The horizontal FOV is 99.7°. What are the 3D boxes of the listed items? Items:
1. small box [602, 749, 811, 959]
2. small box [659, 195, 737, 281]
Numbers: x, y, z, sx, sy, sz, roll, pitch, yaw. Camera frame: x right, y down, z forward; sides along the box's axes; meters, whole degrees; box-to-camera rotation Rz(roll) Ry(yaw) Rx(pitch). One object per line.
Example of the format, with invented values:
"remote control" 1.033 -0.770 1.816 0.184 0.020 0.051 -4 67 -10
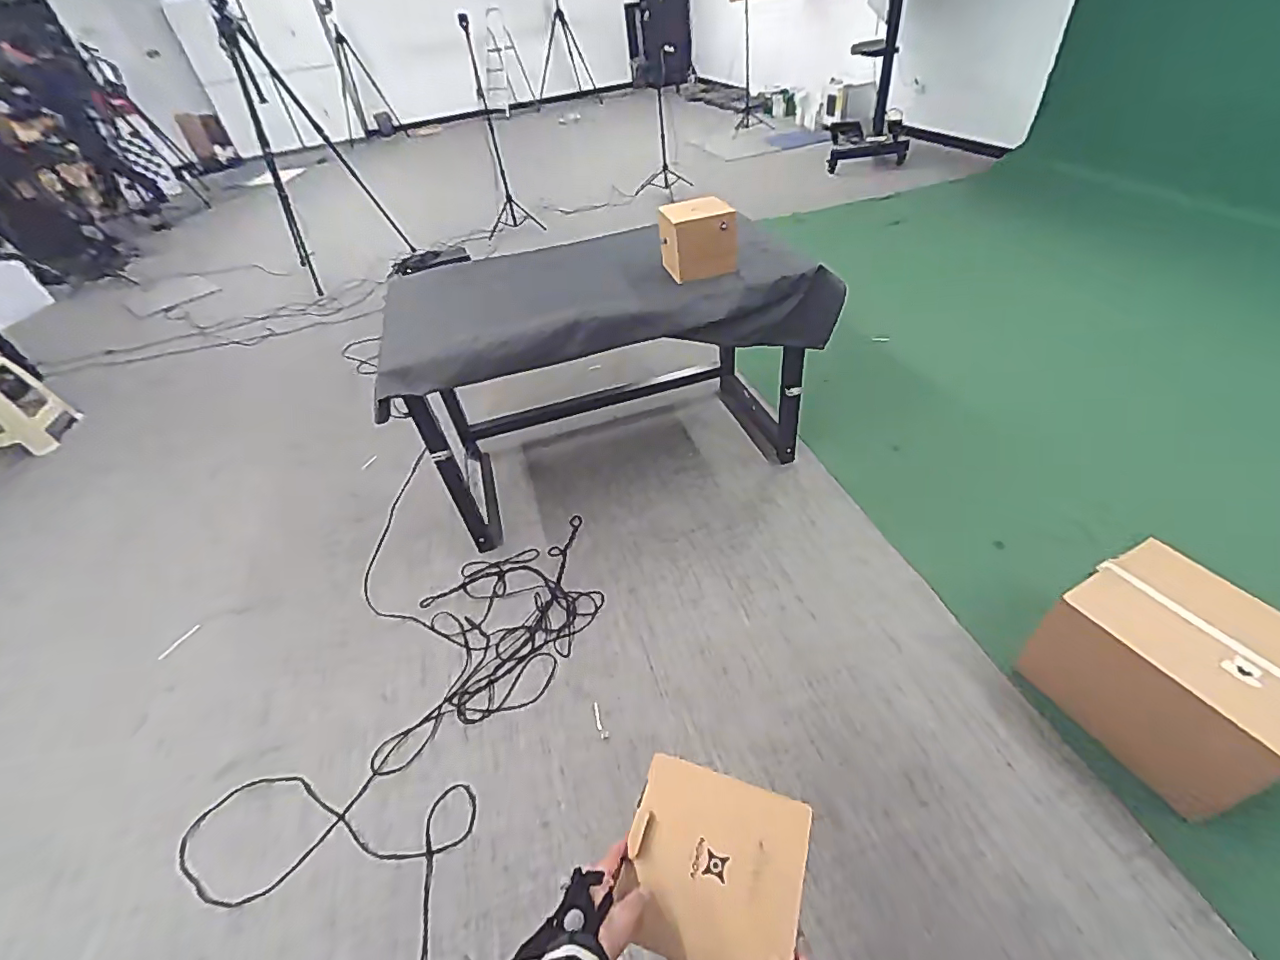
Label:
"small box" 0.077 0.429 0.592 0.179 0.176 0.168 11 51 15
"small box" 0.165 -0.675 1.518 0.179 0.176 0.168 -14 42 -6
